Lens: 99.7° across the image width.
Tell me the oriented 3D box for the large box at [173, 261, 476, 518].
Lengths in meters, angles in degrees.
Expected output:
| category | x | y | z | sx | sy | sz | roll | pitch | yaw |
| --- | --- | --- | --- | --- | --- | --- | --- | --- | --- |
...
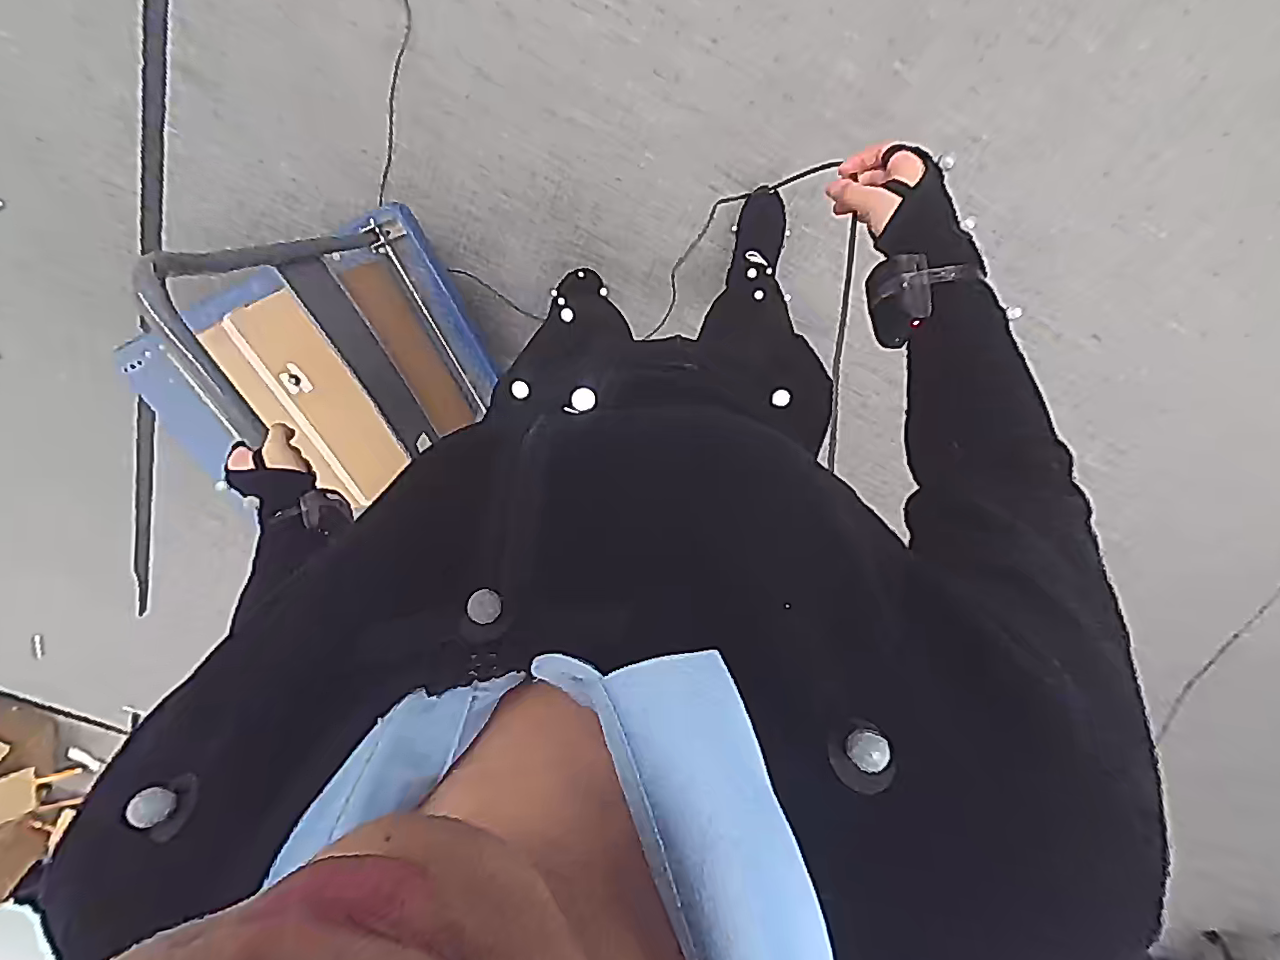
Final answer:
| category | x | y | z | sx | sy | sz | roll | pitch | yaw |
| --- | --- | --- | --- | --- | --- | --- | --- | --- | --- |
| large box | -0.623 | -0.196 | 1.155 | 0.320 | 0.320 | 0.408 | -19 | 115 | 13 |
